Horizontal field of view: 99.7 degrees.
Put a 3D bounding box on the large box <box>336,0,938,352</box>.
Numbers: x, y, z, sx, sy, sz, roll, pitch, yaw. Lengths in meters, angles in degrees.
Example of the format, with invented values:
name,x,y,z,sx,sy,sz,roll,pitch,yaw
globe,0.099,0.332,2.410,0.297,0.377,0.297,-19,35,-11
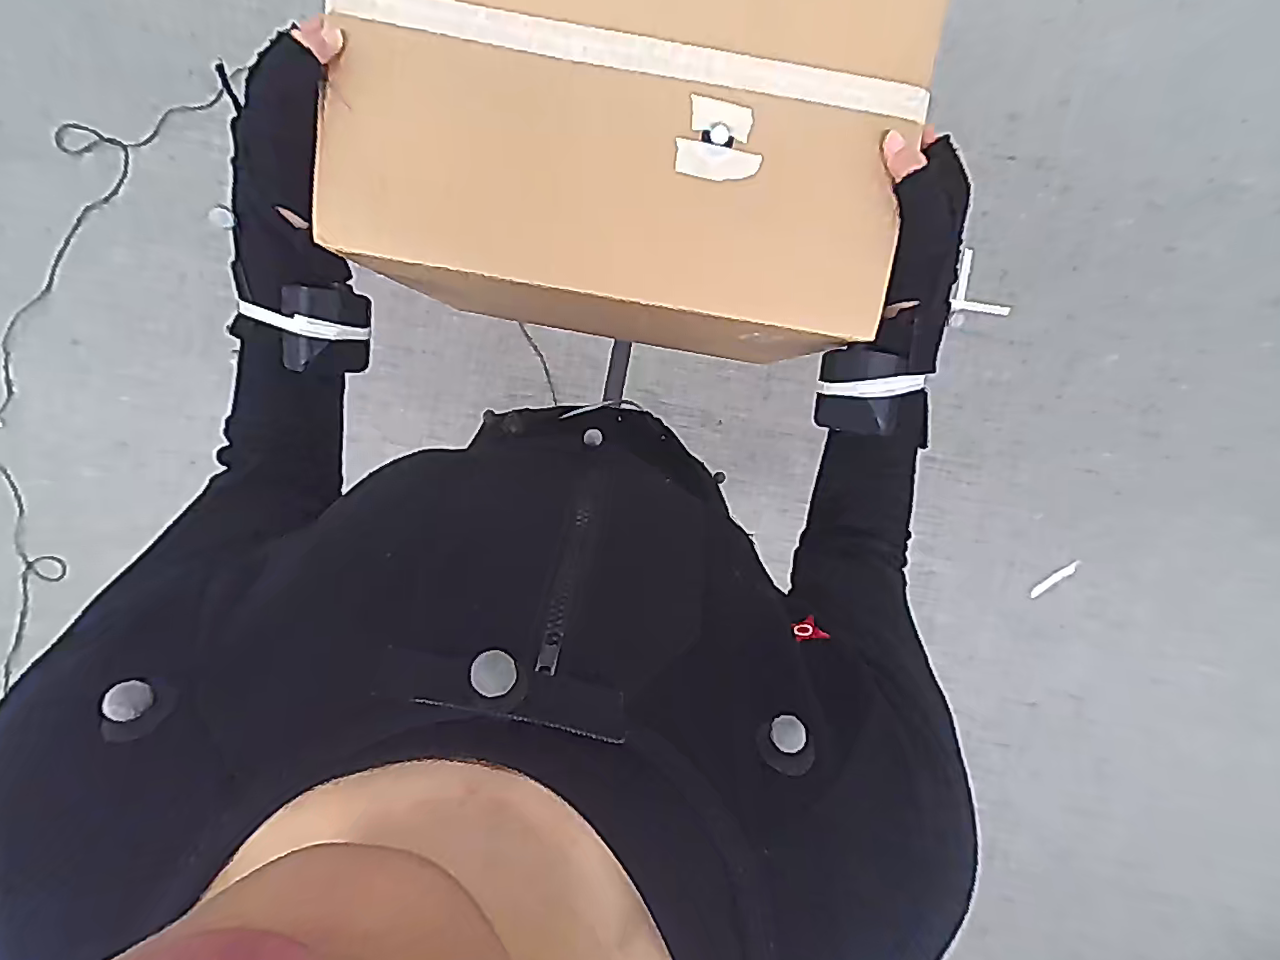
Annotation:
name,x,y,z,sx,sy,sz,roll,pitch,yaw
large box,-0.006,-0.316,0.520,0.408,0.320,0.320,9,100,-3
